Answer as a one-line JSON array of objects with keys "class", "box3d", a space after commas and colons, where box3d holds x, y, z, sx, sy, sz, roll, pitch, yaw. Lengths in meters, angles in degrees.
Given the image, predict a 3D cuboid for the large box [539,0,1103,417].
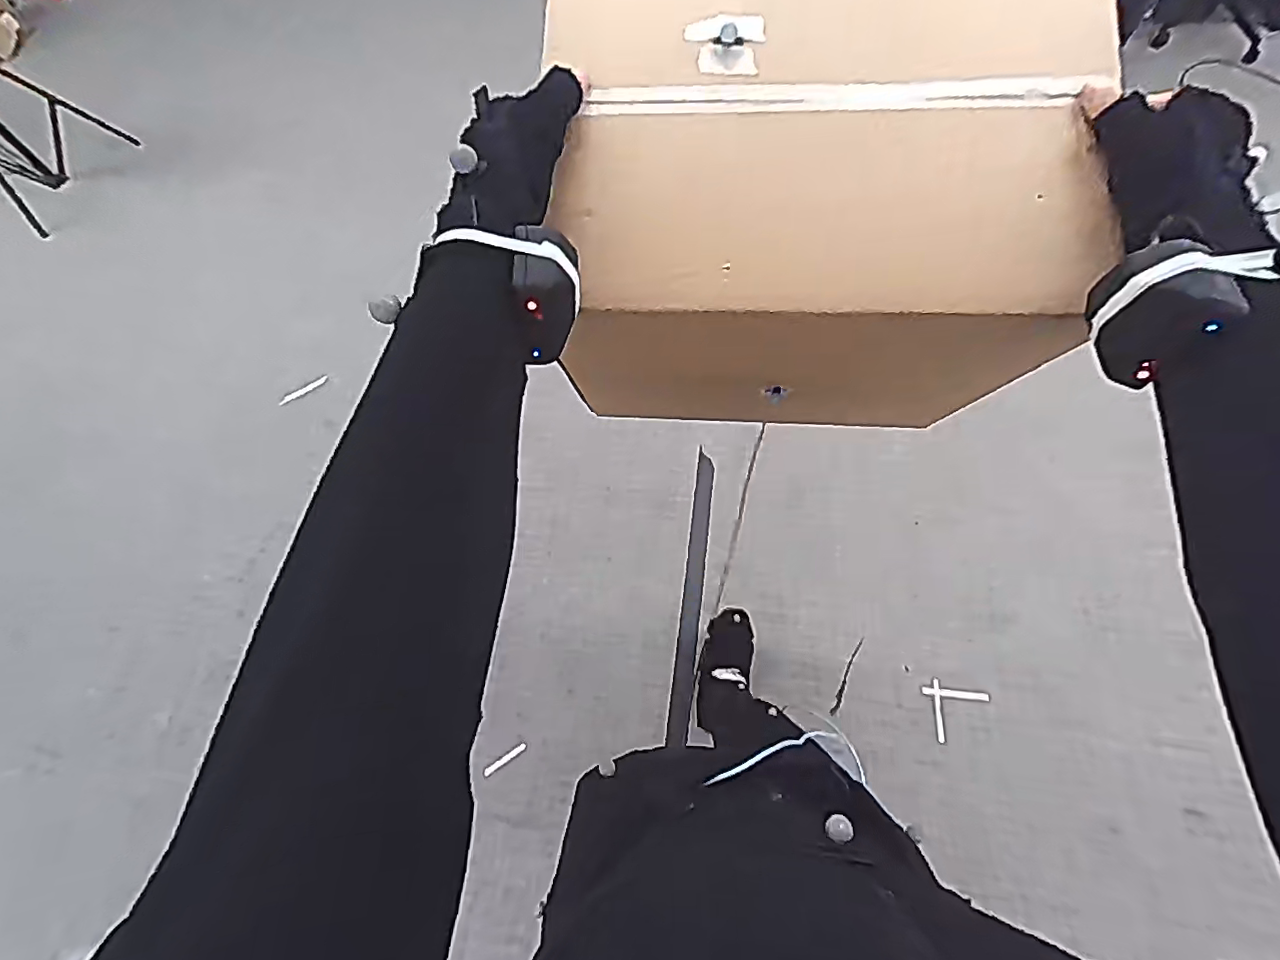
[{"class": "large box", "box3d": [0.144, -0.251, 0.555, 0.408, 0.320, 0.320, 2, 81, 7]}]
